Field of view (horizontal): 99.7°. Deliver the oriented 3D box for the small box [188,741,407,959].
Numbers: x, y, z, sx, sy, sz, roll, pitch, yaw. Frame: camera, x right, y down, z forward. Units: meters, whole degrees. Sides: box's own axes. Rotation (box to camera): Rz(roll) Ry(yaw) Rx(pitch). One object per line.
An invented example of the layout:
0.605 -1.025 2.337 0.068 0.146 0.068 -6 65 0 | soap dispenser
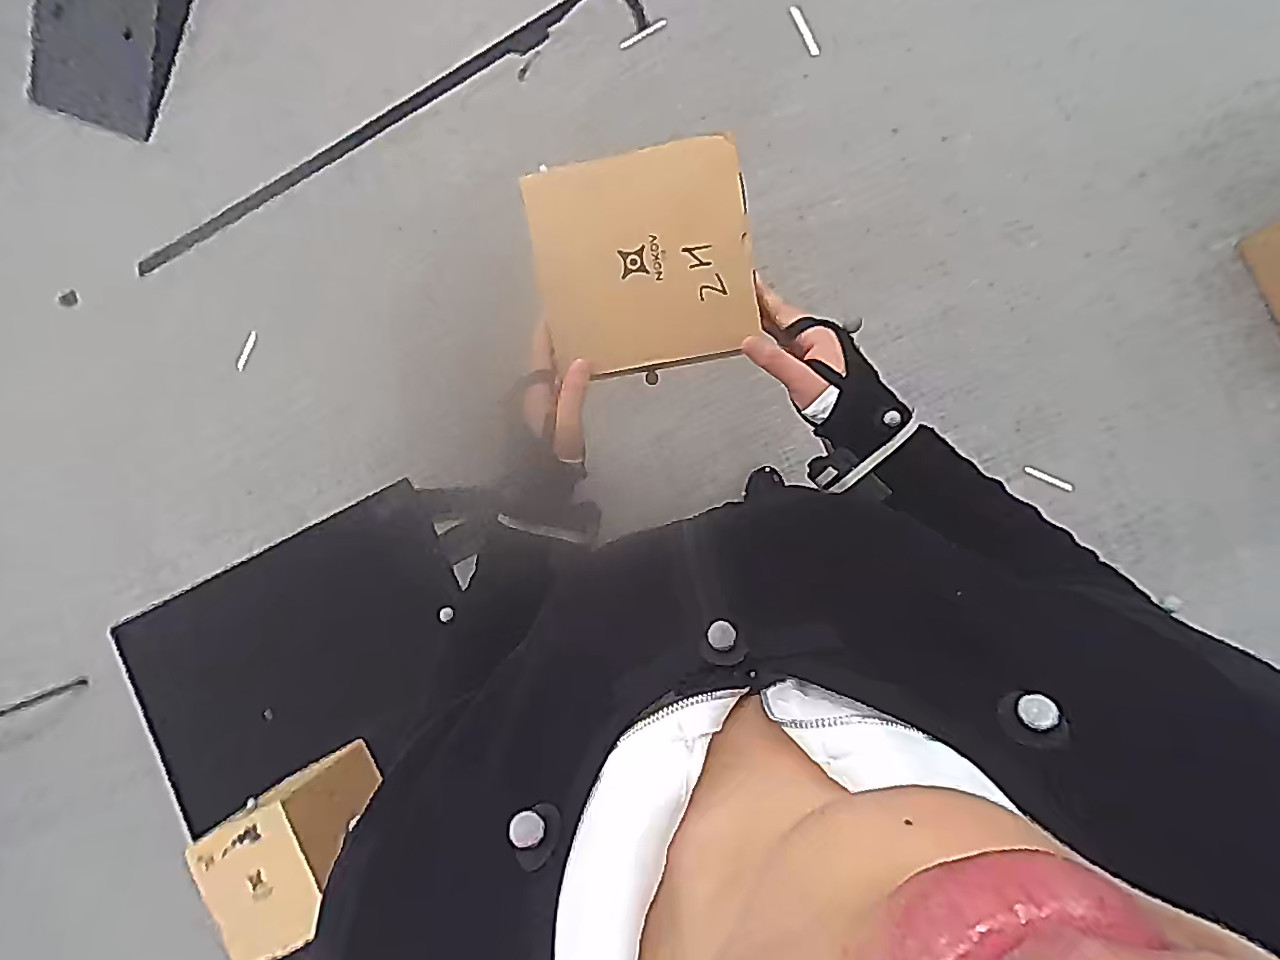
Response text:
-0.476 0.522 0.779 0.168 0.176 0.179 -30 87 7 | small box
